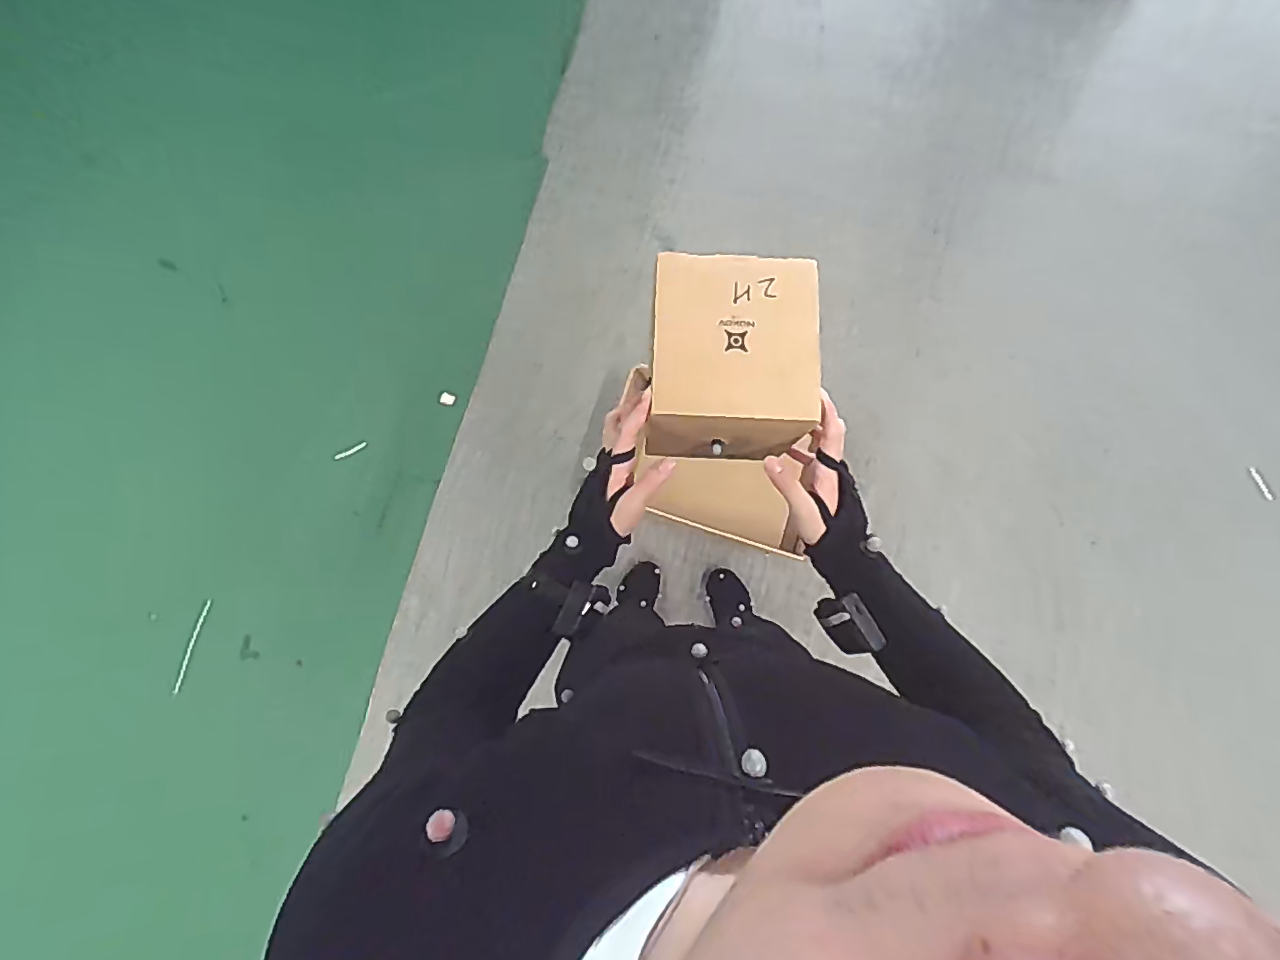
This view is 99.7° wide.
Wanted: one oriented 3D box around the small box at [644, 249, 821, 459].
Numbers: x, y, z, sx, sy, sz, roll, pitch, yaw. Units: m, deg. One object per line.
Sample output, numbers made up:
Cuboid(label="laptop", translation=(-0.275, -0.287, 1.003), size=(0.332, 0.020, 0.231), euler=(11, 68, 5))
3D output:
Cuboid(label="small box", translation=(0.092, -0.126, 0.603), size=(0.168, 0.176, 0.179), euler=(3, 78, -1))
